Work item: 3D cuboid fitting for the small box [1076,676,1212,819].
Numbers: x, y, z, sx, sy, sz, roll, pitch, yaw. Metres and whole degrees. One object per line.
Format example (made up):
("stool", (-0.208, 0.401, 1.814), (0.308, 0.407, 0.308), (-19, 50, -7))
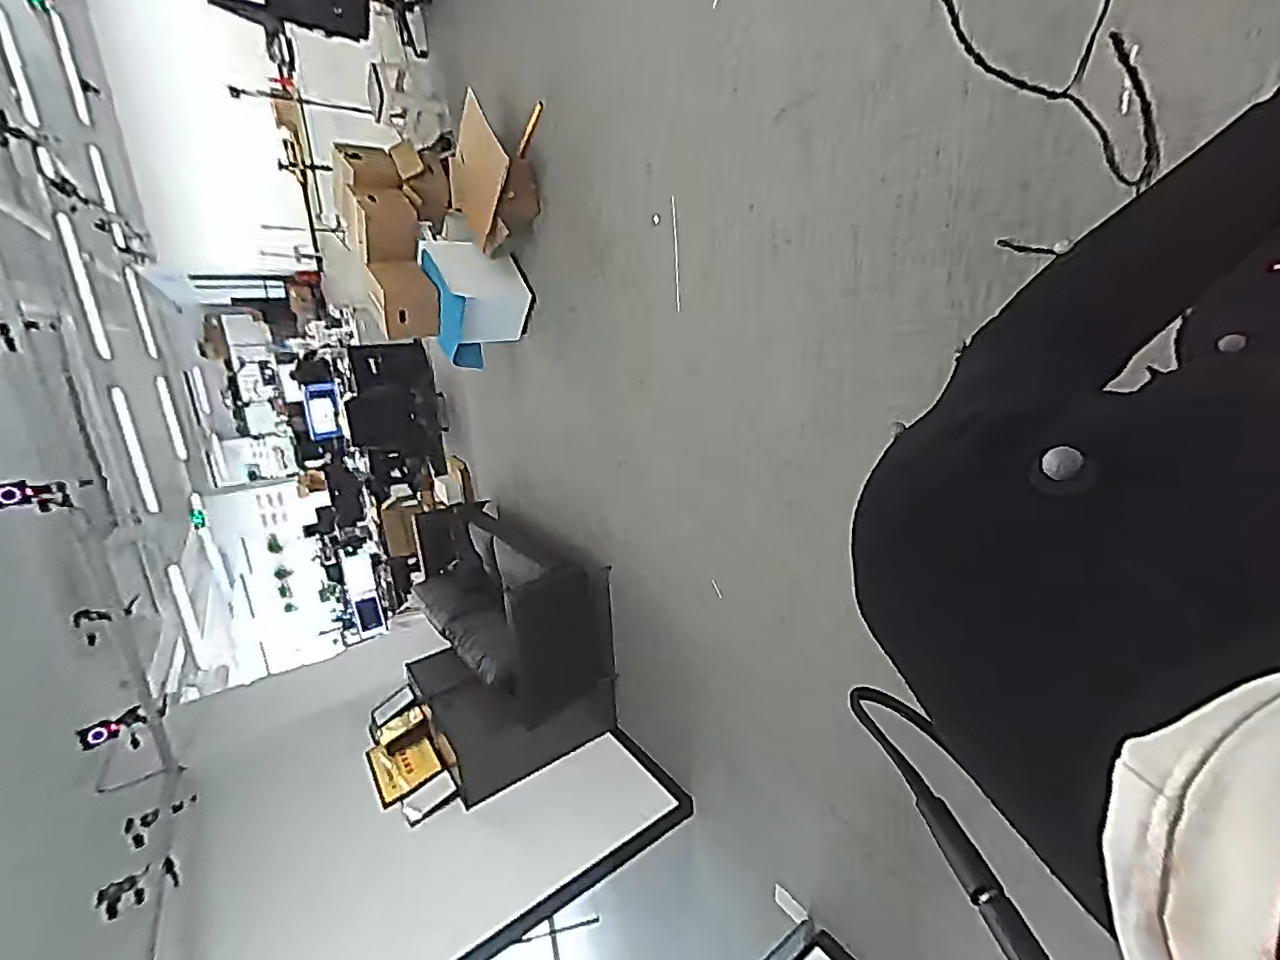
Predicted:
("small box", (1.050, 0.543, 1.128), (0.168, 0.176, 0.179), (17, 116, 54))
